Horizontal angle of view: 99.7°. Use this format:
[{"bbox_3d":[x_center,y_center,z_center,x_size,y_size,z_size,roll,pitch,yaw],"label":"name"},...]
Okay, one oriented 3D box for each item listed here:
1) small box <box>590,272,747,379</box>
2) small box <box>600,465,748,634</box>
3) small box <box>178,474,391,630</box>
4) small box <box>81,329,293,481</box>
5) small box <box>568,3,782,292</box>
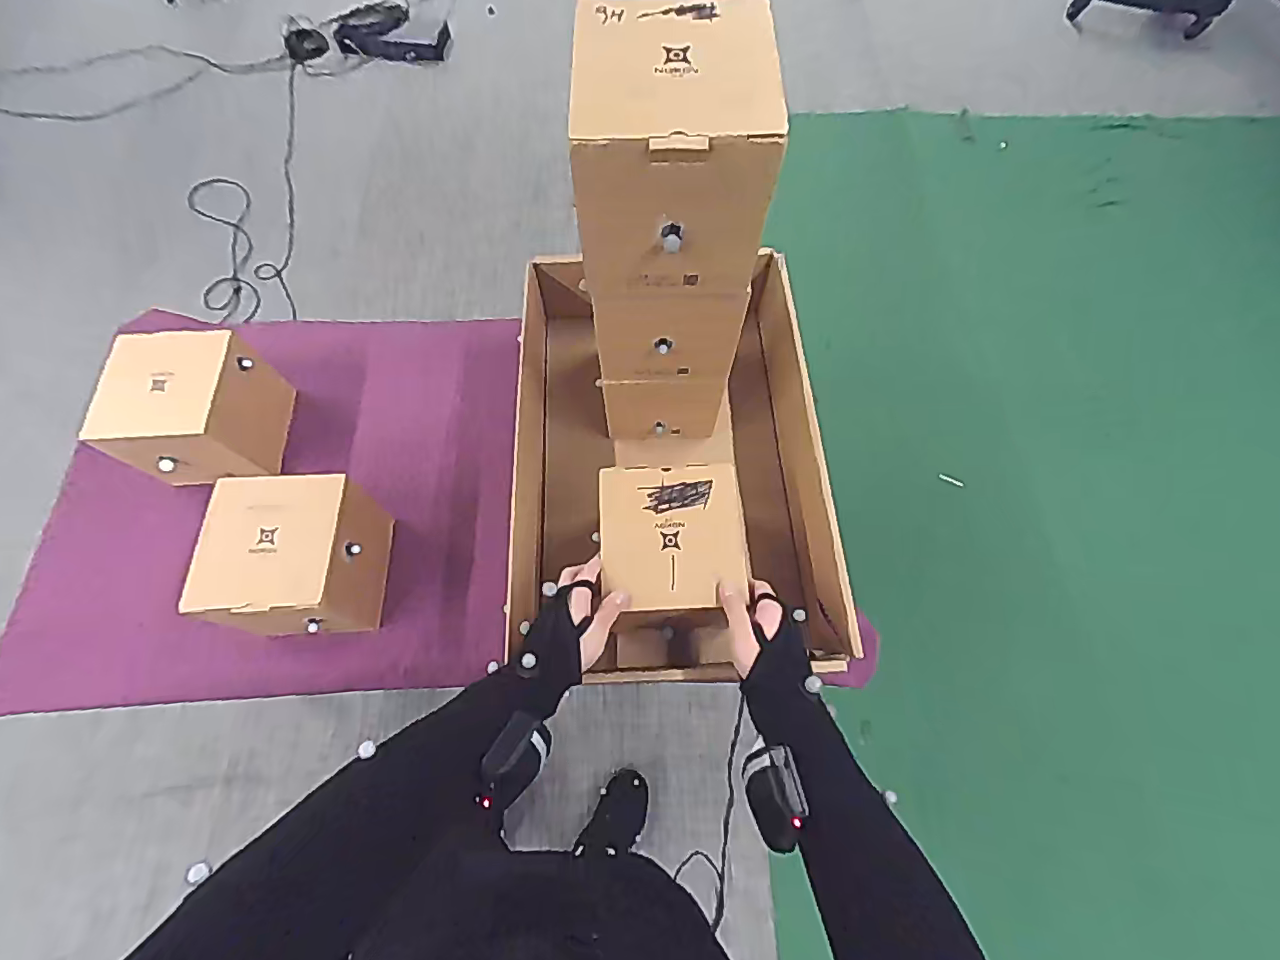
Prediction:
[{"bbox_3d":[0.031,-0.238,0.661,0.168,0.176,0.179,0,67,0],"label":"small box"},{"bbox_3d":[0.035,0.095,0.697,0.168,0.176,0.179,-2,66,0],"label":"small box"},{"bbox_3d":[-0.462,0.106,0.739,0.168,0.176,0.179,-1,65,-2],"label":"small box"},{"bbox_3d":[-0.672,-0.105,0.830,0.168,0.176,0.179,-3,65,-2],"label":"small box"},{"bbox_3d":[0.029,-0.298,0.509,0.168,0.176,0.179,0,69,0],"label":"small box"}]
